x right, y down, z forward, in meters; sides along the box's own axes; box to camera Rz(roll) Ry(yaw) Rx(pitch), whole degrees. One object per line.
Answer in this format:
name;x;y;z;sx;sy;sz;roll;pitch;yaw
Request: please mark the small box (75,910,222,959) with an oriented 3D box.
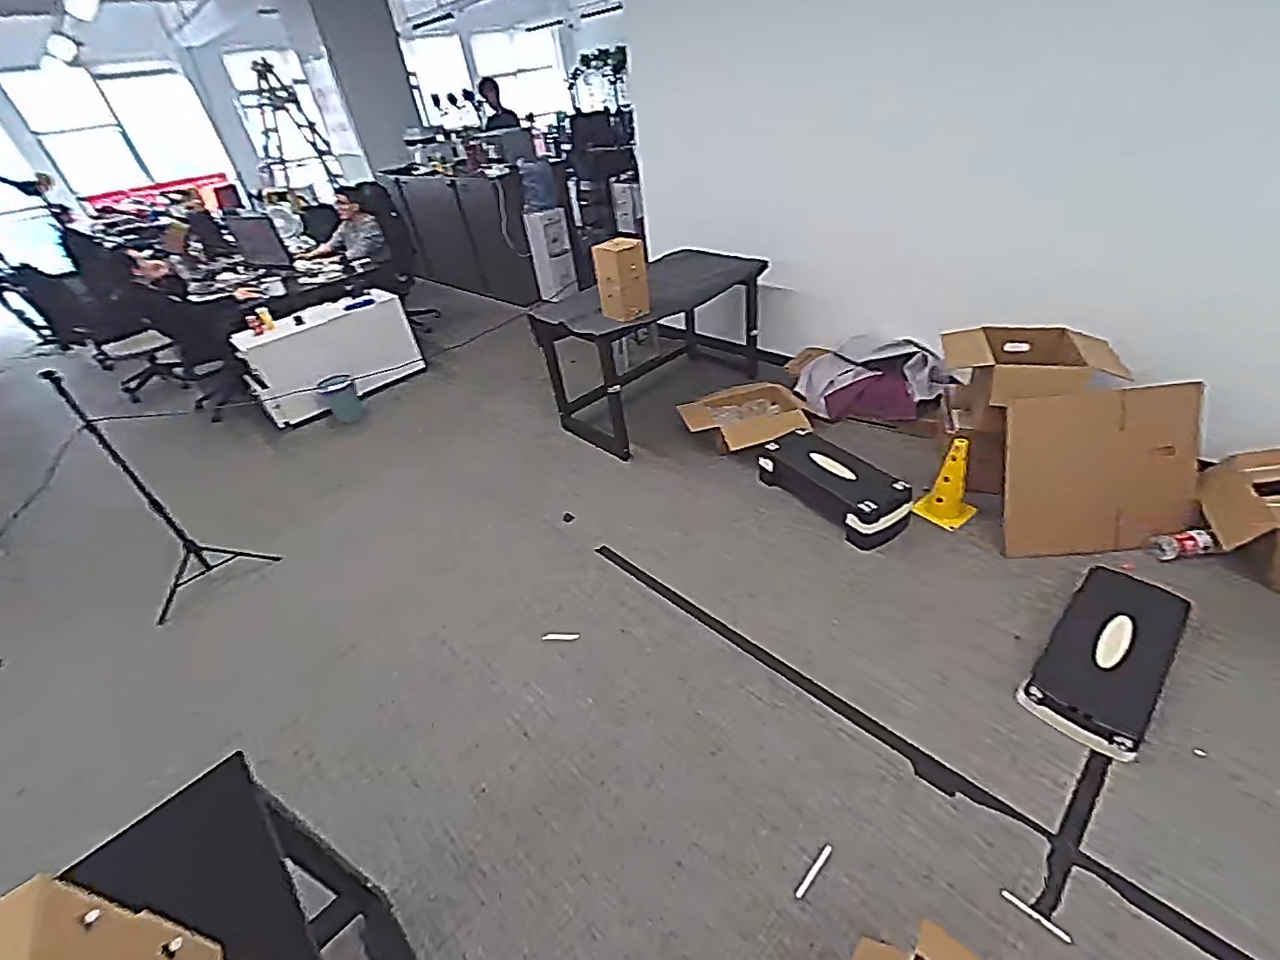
small box;-0.625;0.682;0.645;0.168;0.176;0.179;-32;42;-26
